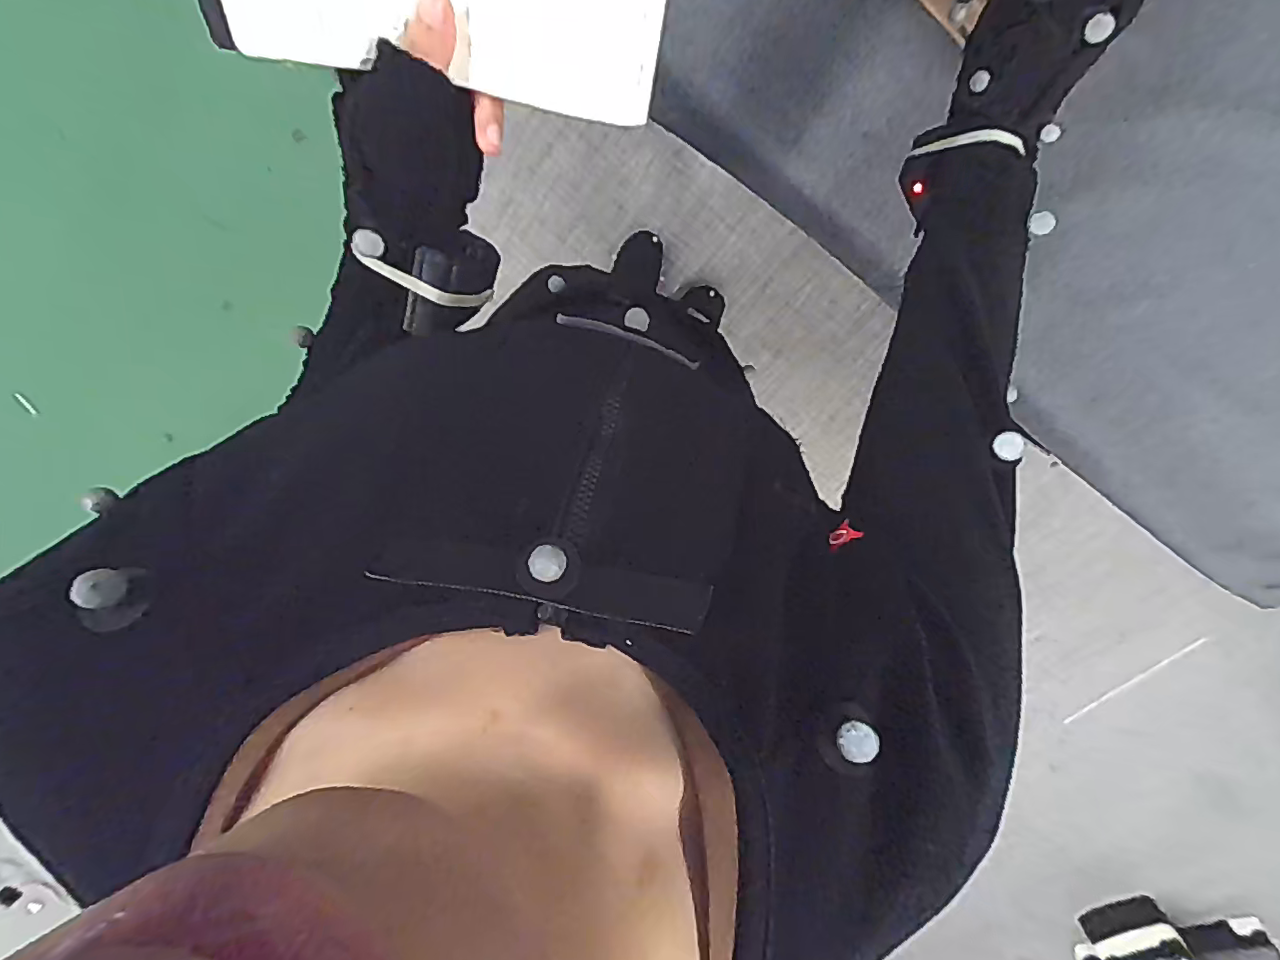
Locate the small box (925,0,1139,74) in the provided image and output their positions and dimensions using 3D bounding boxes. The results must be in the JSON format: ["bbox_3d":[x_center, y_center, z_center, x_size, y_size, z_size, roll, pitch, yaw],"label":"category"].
[{"bbox_3d":[0.343,-0.473,0.421,0.168,0.176,0.179,36,112,-11],"label":"small box"}]
